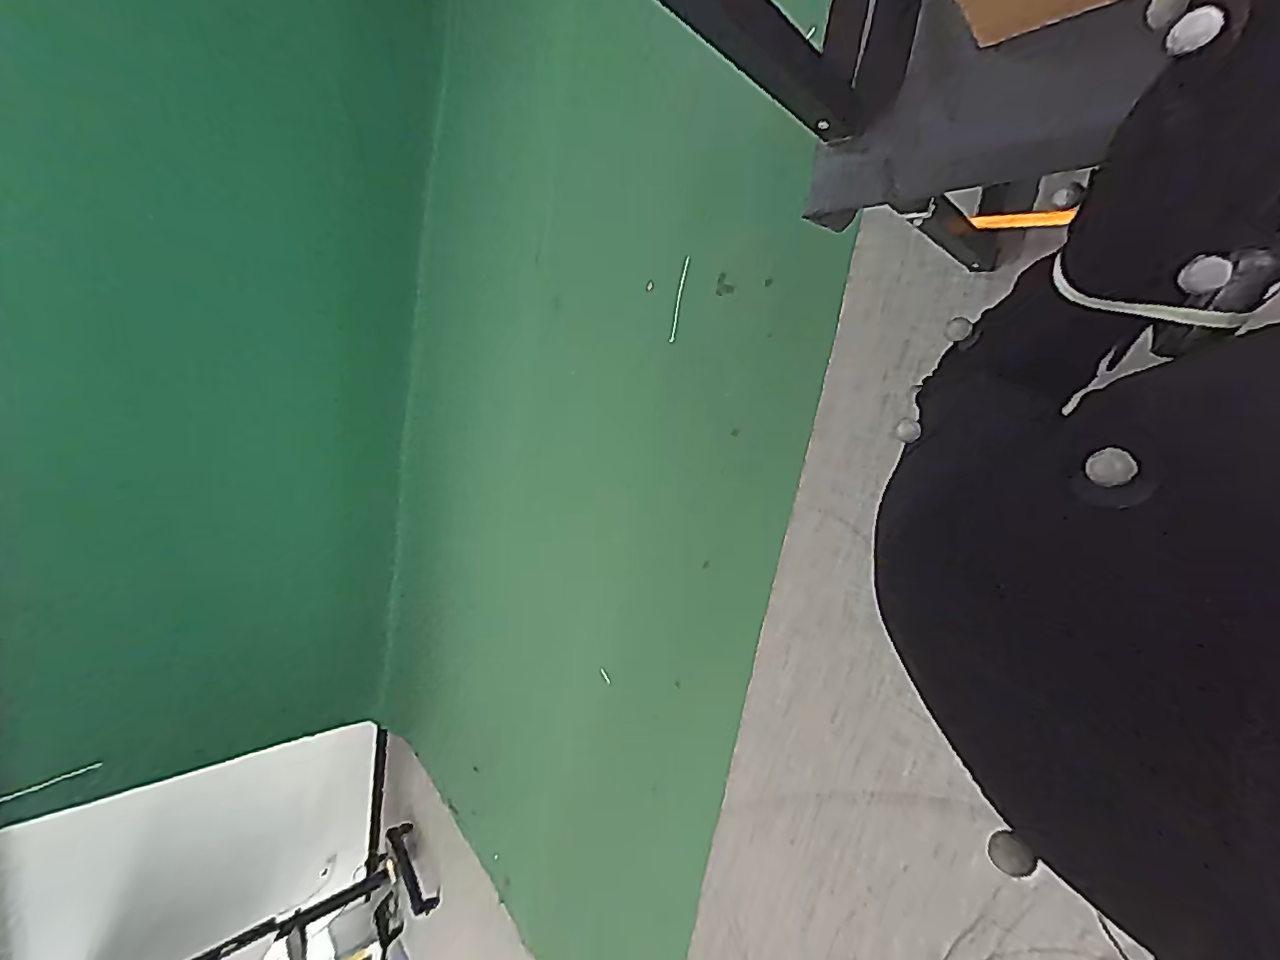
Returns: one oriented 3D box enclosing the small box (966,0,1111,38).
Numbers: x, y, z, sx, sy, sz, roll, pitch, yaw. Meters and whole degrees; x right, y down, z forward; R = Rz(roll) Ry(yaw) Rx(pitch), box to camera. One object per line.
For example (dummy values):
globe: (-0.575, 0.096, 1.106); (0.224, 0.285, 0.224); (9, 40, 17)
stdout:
small box: (0.445, -0.616, 0.562); (0.179, 0.176, 0.168); (14, 101, 45)
